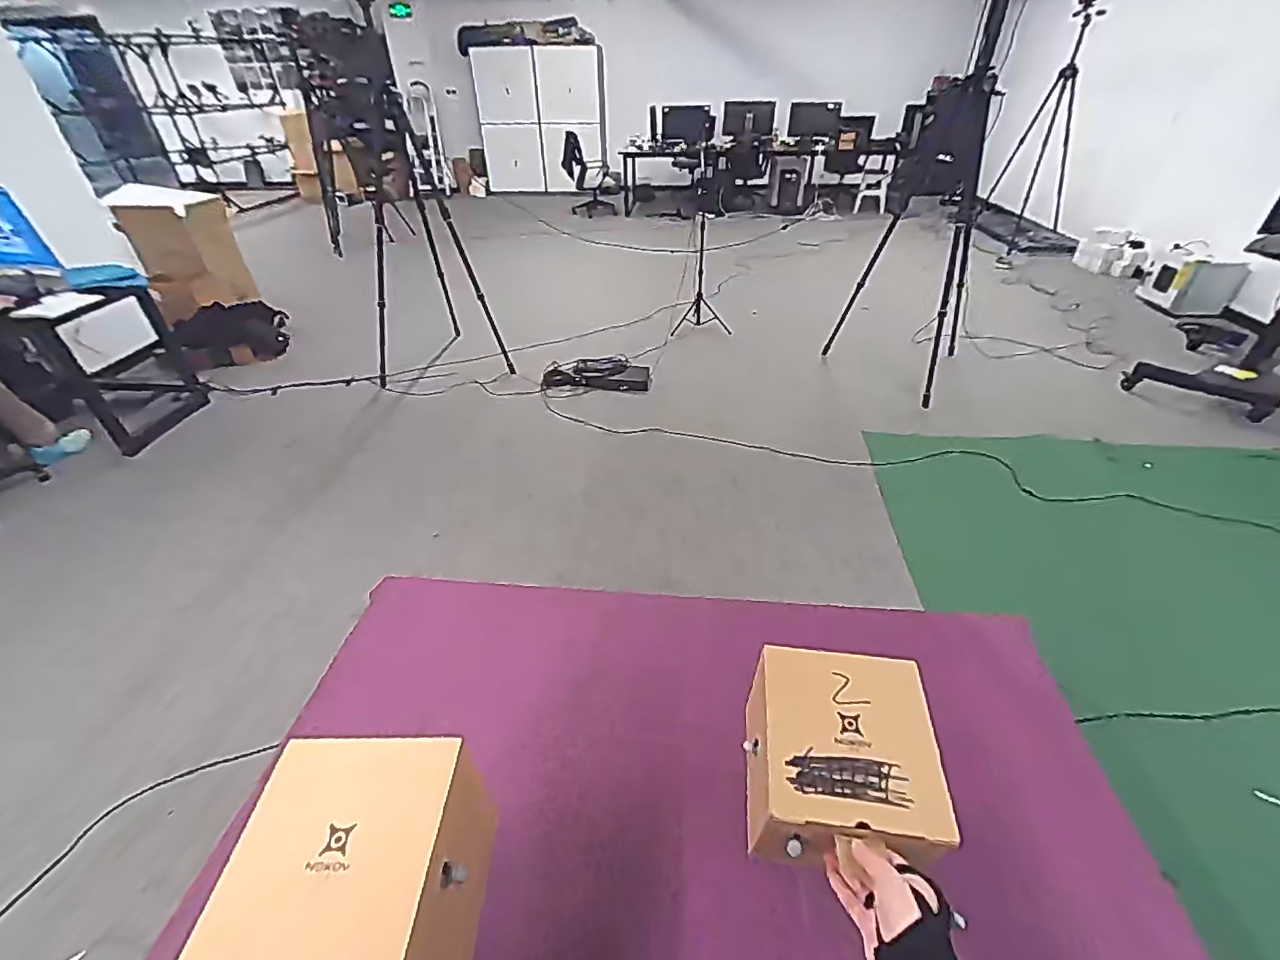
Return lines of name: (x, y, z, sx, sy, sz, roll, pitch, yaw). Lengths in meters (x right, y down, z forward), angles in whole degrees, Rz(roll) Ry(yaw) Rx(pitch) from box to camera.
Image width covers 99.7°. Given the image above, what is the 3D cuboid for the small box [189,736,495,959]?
small box: (-0.243, 0.364, 0.502, 0.168, 0.176, 0.179, -1, 40, 2)
